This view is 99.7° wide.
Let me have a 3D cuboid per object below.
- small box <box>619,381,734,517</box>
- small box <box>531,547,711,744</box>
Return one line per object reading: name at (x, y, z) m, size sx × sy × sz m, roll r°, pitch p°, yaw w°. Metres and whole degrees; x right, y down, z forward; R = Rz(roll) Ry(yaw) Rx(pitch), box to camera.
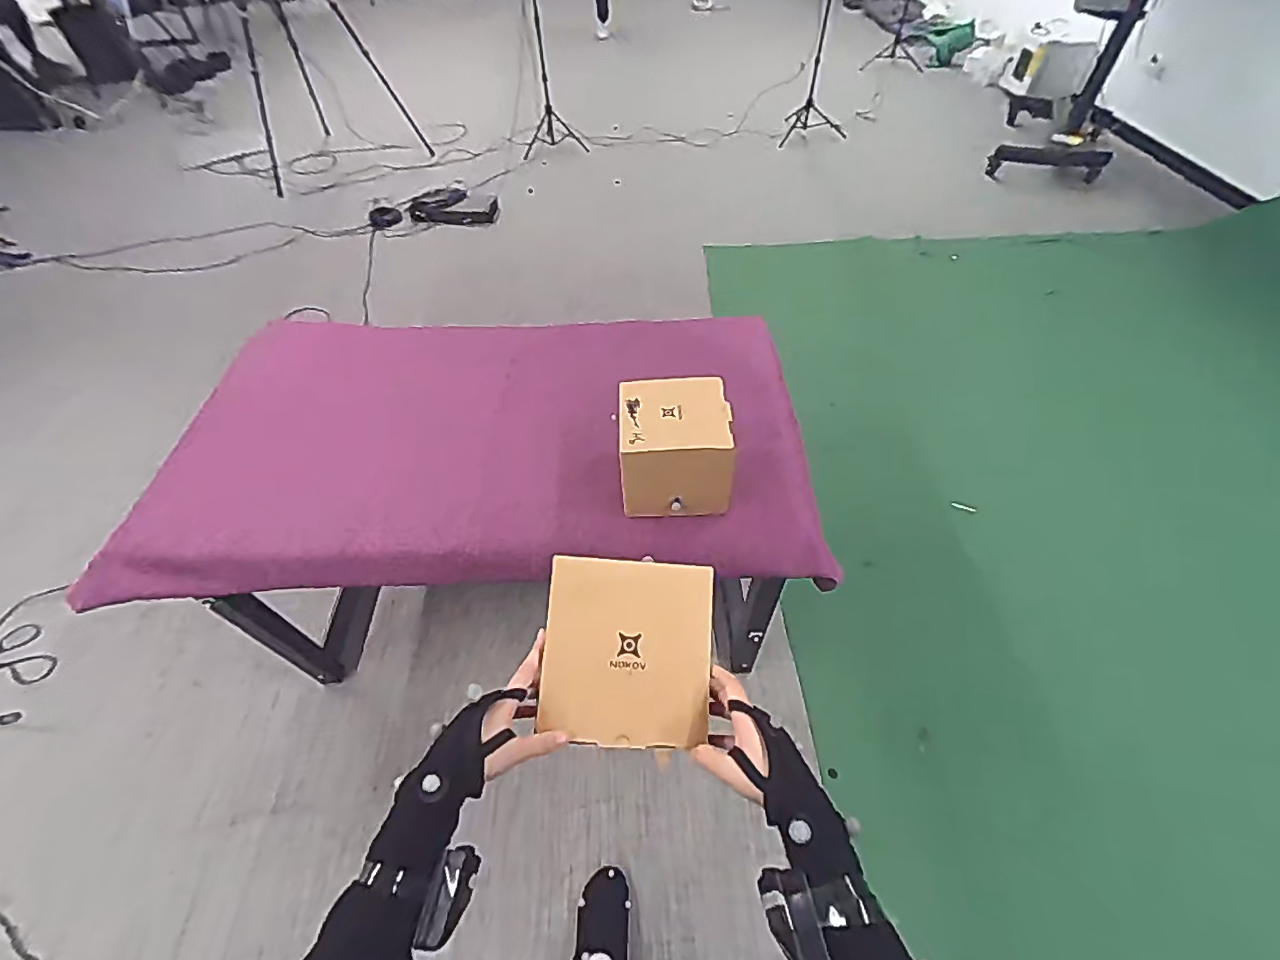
small box at (0.056, -0.050, 0.920) m, size 0.179 × 0.176 × 0.168 m, roll -2°, pitch 48°, yaw 1°
small box at (-0.023, 0.178, 0.601) m, size 0.168 × 0.176 × 0.179 m, roll 5°, pitch 75°, yaw -4°
